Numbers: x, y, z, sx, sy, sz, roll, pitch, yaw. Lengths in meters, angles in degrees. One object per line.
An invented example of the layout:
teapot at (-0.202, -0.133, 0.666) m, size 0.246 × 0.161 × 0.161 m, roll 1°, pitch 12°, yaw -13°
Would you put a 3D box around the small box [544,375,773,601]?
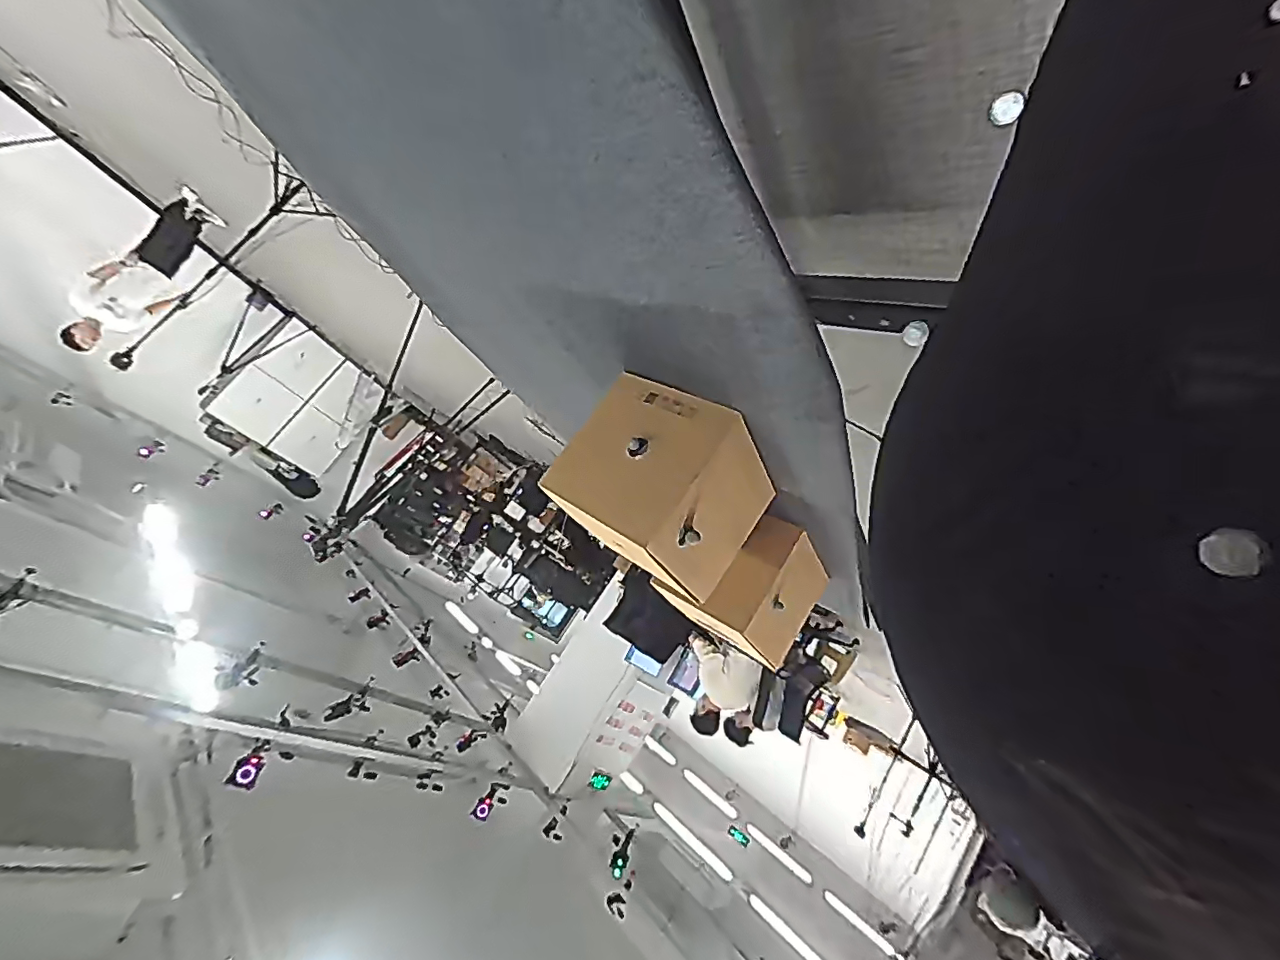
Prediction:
small box at (0.030, 0.006, 0.625) m, size 0.168 × 0.176 × 0.179 m, roll 28°, pitch 166°, yaw 36°
